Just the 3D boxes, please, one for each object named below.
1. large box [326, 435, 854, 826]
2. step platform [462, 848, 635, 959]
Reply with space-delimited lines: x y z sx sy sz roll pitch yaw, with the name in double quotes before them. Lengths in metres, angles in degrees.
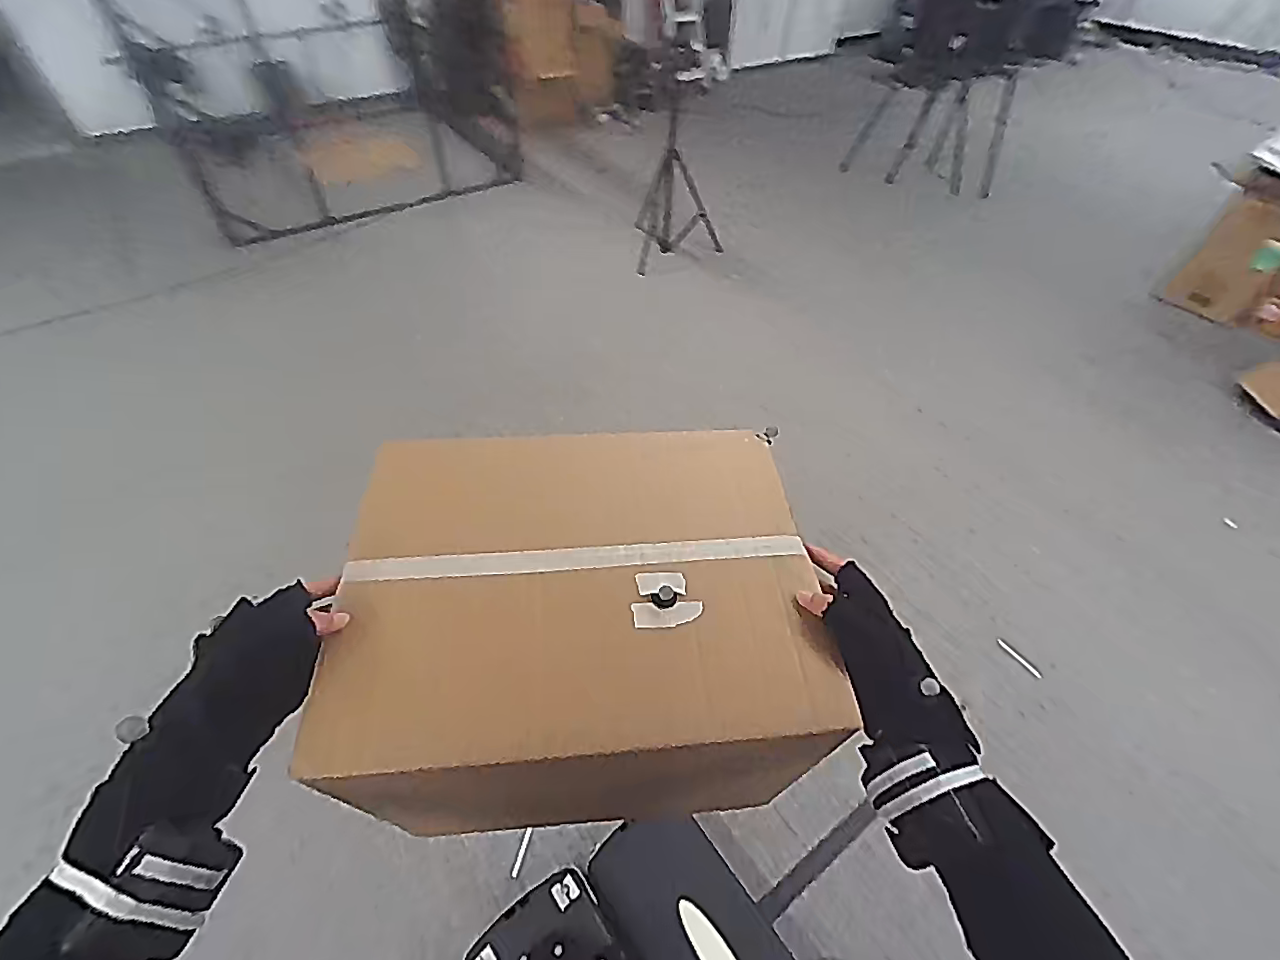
"large box" -0.051 0.169 0.608 0.408 0.320 0.320 -2 51 -5
"step platform" -0.086 1.148 1.095 0.286 0.204 0.684 -30 55 -25
